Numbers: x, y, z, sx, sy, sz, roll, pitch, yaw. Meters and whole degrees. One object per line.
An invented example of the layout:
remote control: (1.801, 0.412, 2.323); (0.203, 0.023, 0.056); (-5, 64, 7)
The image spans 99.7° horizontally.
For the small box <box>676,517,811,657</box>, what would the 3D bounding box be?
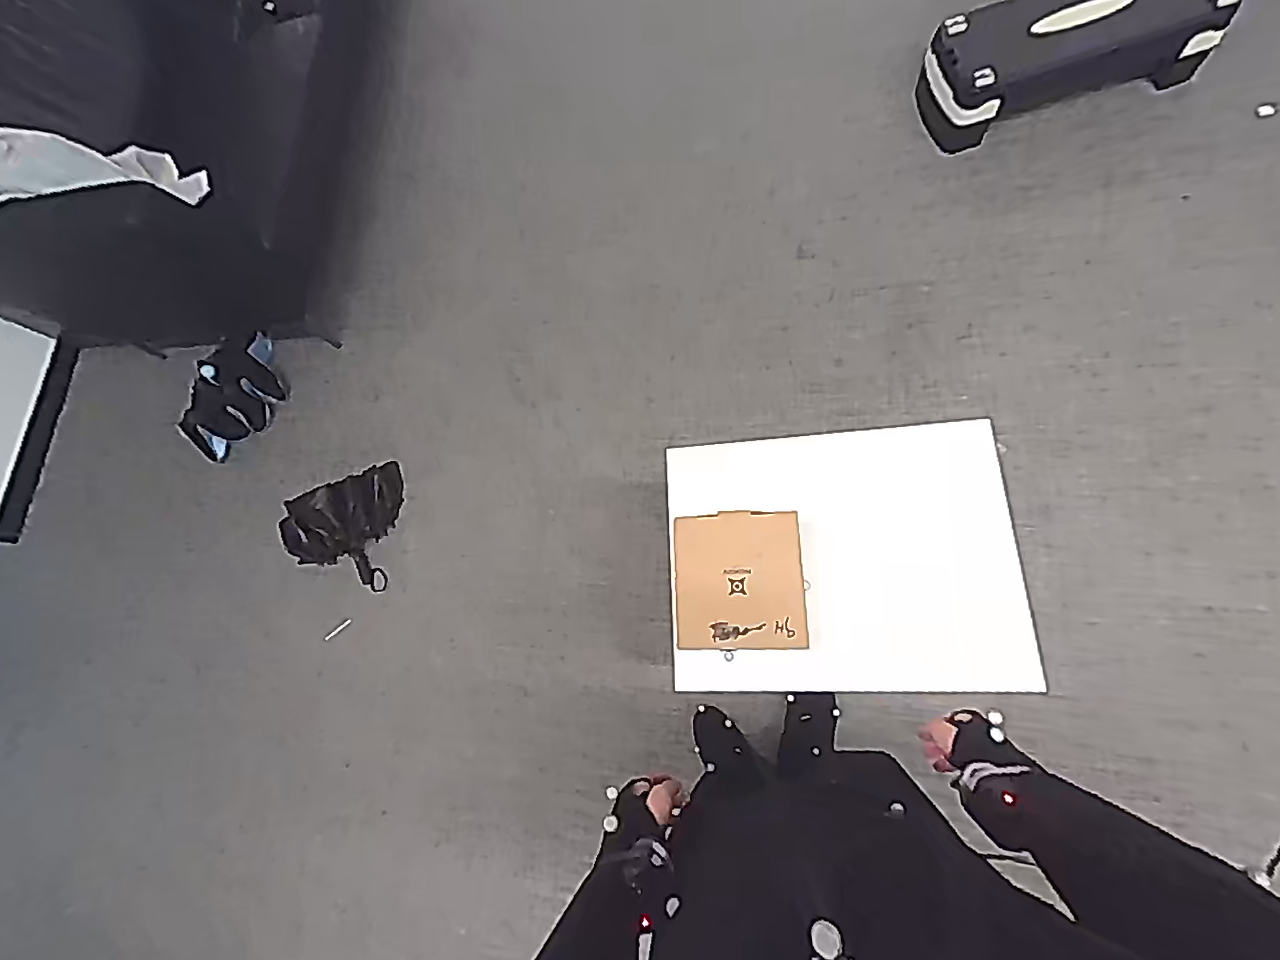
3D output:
small box: (0.144, 0.160, 0.772); (0.168, 0.176, 0.179); (-5, 72, 11)
